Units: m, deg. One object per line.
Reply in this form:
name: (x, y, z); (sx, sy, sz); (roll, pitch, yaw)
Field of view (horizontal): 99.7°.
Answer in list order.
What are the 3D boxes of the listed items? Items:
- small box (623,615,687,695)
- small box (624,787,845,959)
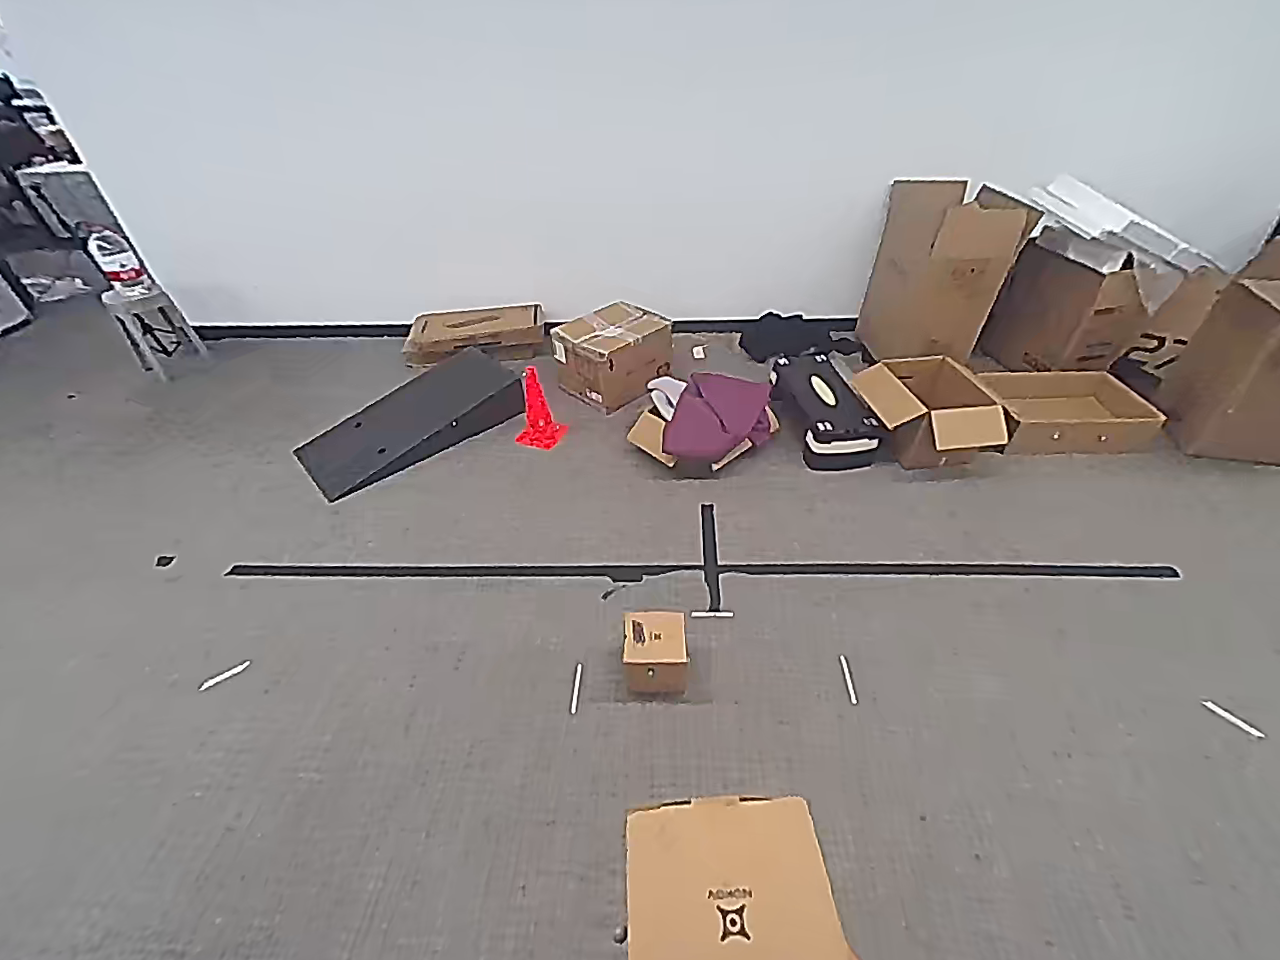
small box: (0.046, 0.514, 1.582); (0.179, 0.176, 0.168); (-1, 40, 1)
small box: (0.072, 0.402, 0.473); (0.168, 0.176, 0.179); (-4, 35, 0)
